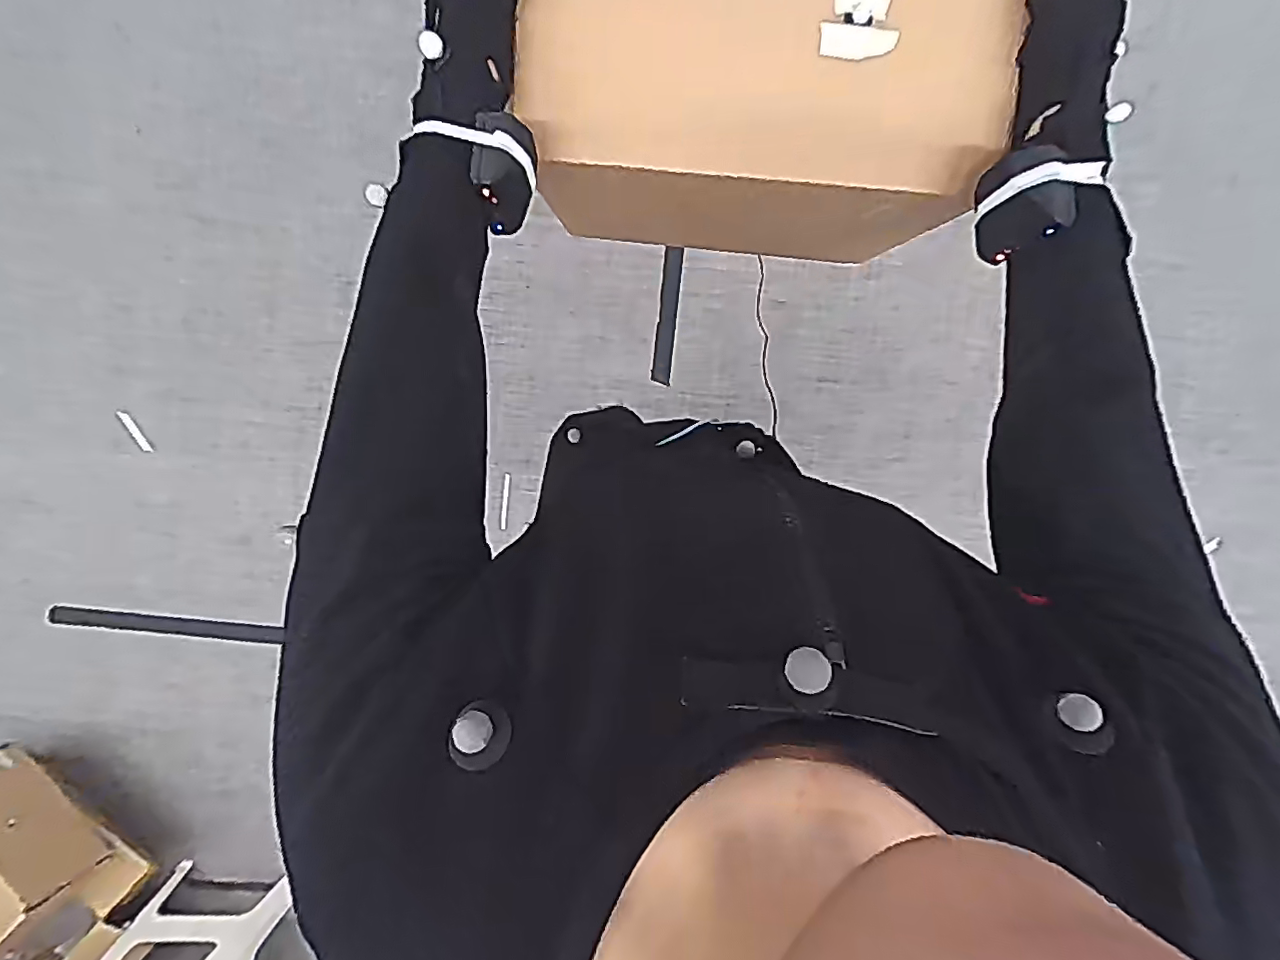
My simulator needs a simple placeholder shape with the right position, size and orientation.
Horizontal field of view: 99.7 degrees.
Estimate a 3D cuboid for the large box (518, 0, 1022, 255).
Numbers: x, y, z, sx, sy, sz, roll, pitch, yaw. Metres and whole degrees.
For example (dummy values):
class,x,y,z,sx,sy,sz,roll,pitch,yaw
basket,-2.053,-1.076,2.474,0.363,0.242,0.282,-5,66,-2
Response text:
class,x,y,z,sx,sy,sz,roll,pitch,yaw
large box,0.106,-0.439,0.568,0.408,0.320,0.320,5,103,0
